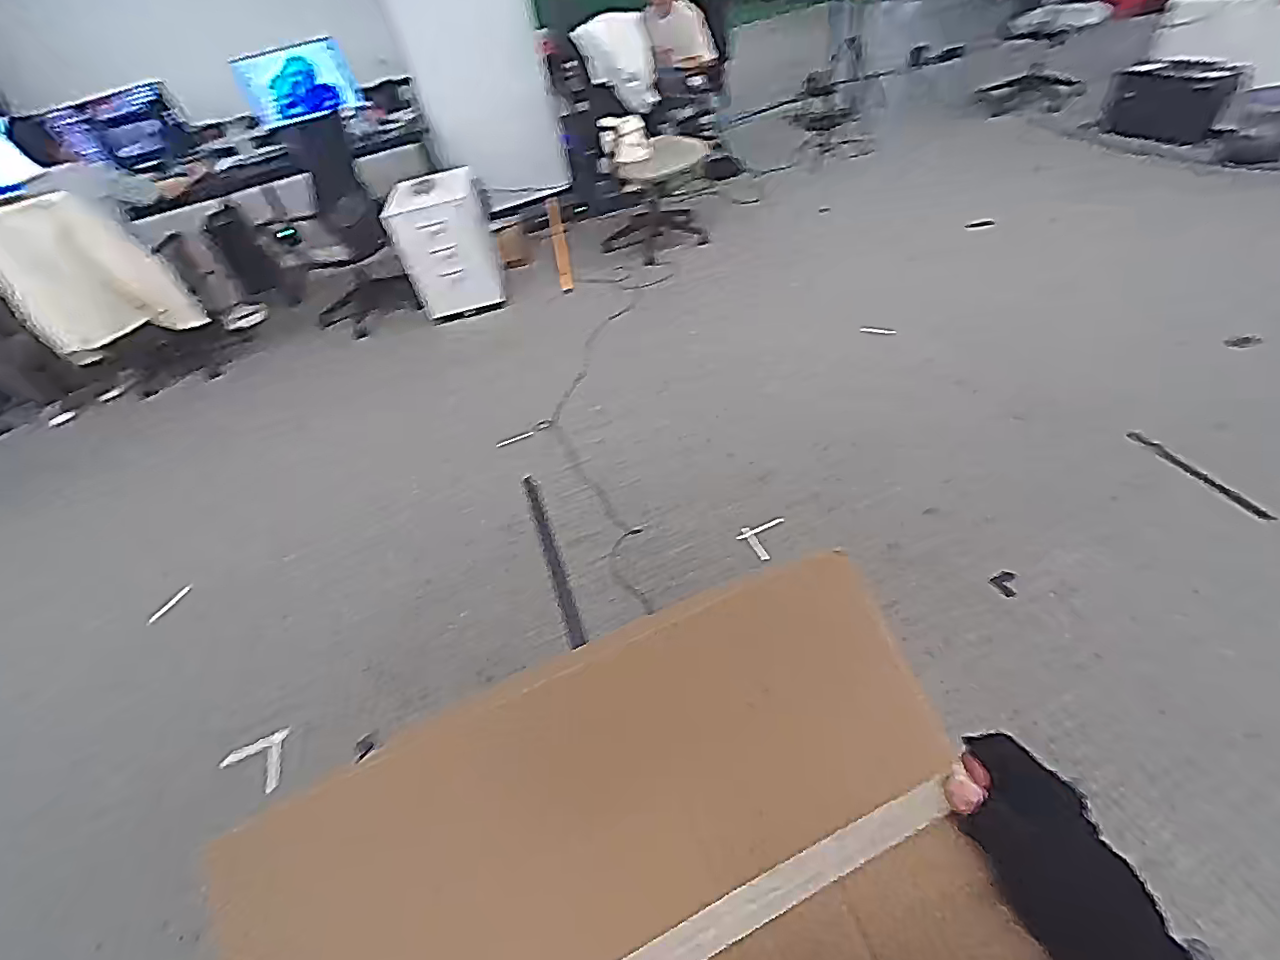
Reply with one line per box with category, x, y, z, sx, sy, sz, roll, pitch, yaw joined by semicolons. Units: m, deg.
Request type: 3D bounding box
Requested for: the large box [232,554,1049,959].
large box;0.001;0.301;0.445;0.408;0.320;0.320;-23;79;-11
